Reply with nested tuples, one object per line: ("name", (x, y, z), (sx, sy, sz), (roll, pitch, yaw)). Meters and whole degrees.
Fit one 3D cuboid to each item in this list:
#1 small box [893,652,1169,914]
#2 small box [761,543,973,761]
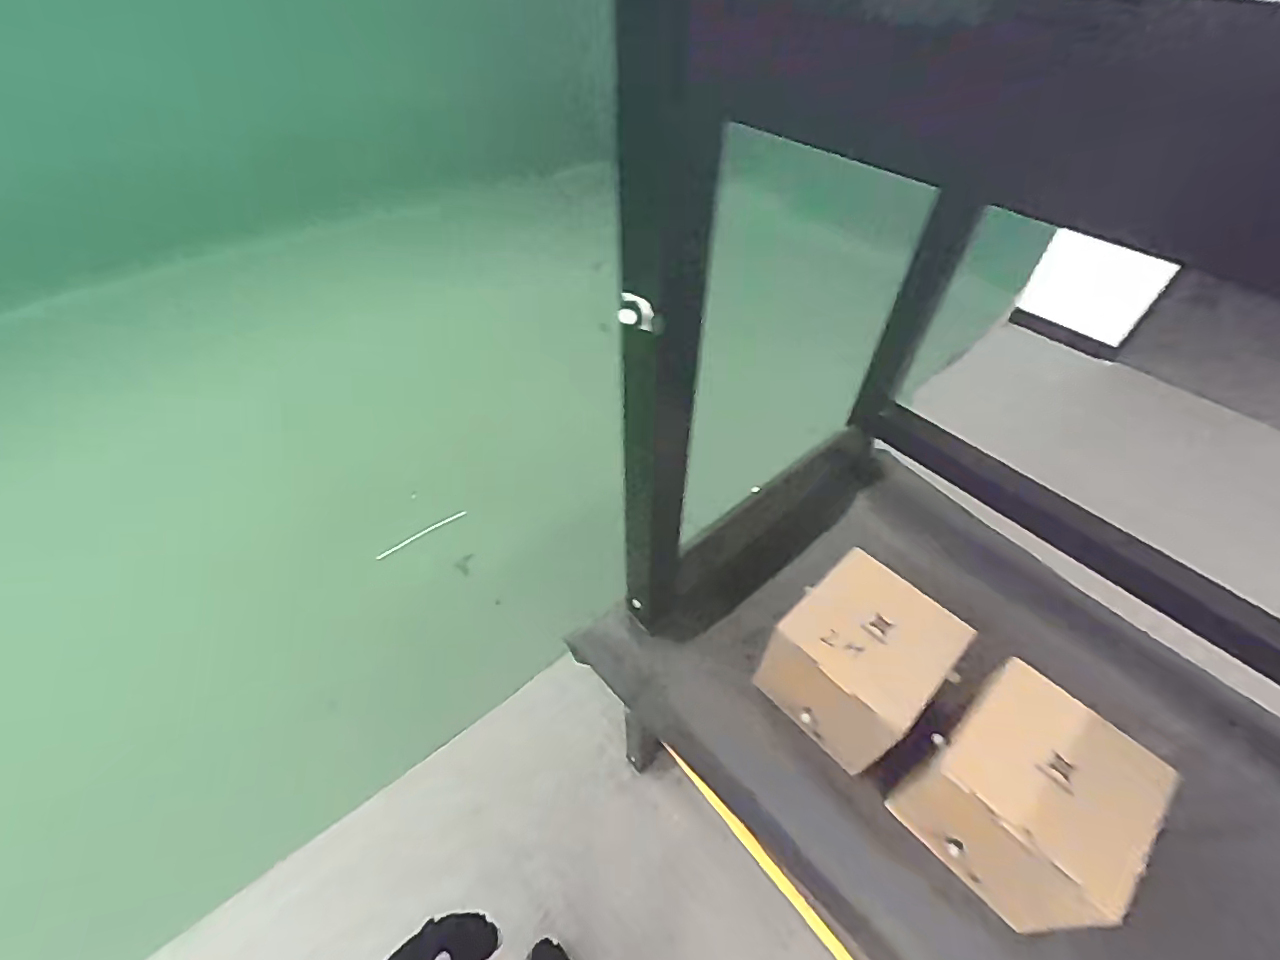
("small box", (0.418, 0.337, 0.606), (0.179, 0.176, 0.168), (-34, 56, -27))
("small box", (0.279, 0.222, 0.702), (0.179, 0.176, 0.168), (-34, 57, -27))
